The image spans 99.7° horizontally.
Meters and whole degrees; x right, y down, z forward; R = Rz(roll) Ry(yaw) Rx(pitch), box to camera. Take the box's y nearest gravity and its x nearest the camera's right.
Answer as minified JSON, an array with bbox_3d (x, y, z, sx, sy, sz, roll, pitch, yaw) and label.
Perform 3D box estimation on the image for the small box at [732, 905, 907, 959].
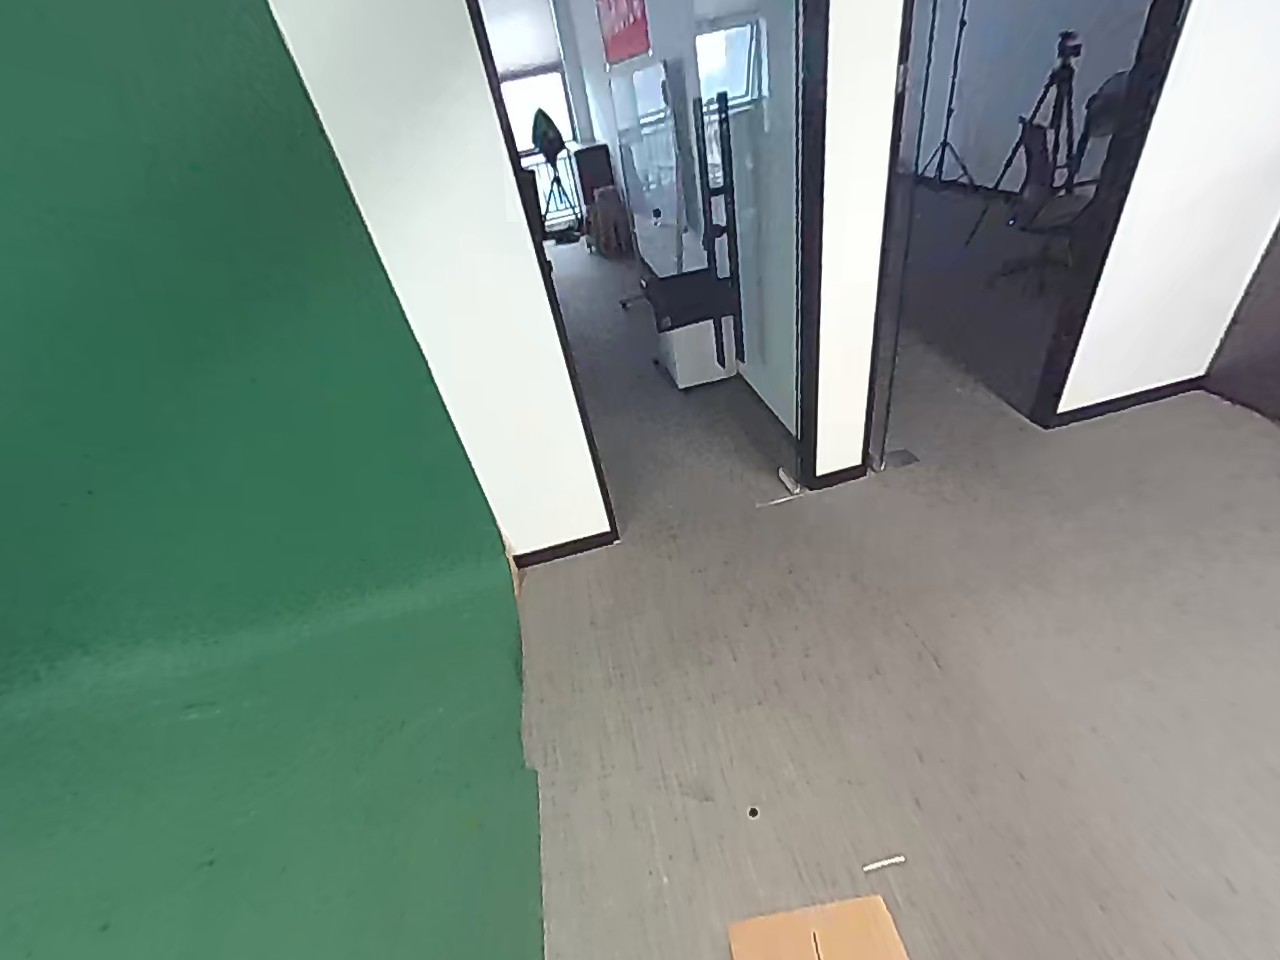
[{"bbox_3d":[0.193,0.567,0.531,0.168,0.176,0.179,-9,31,-2],"label":"small box"}]
